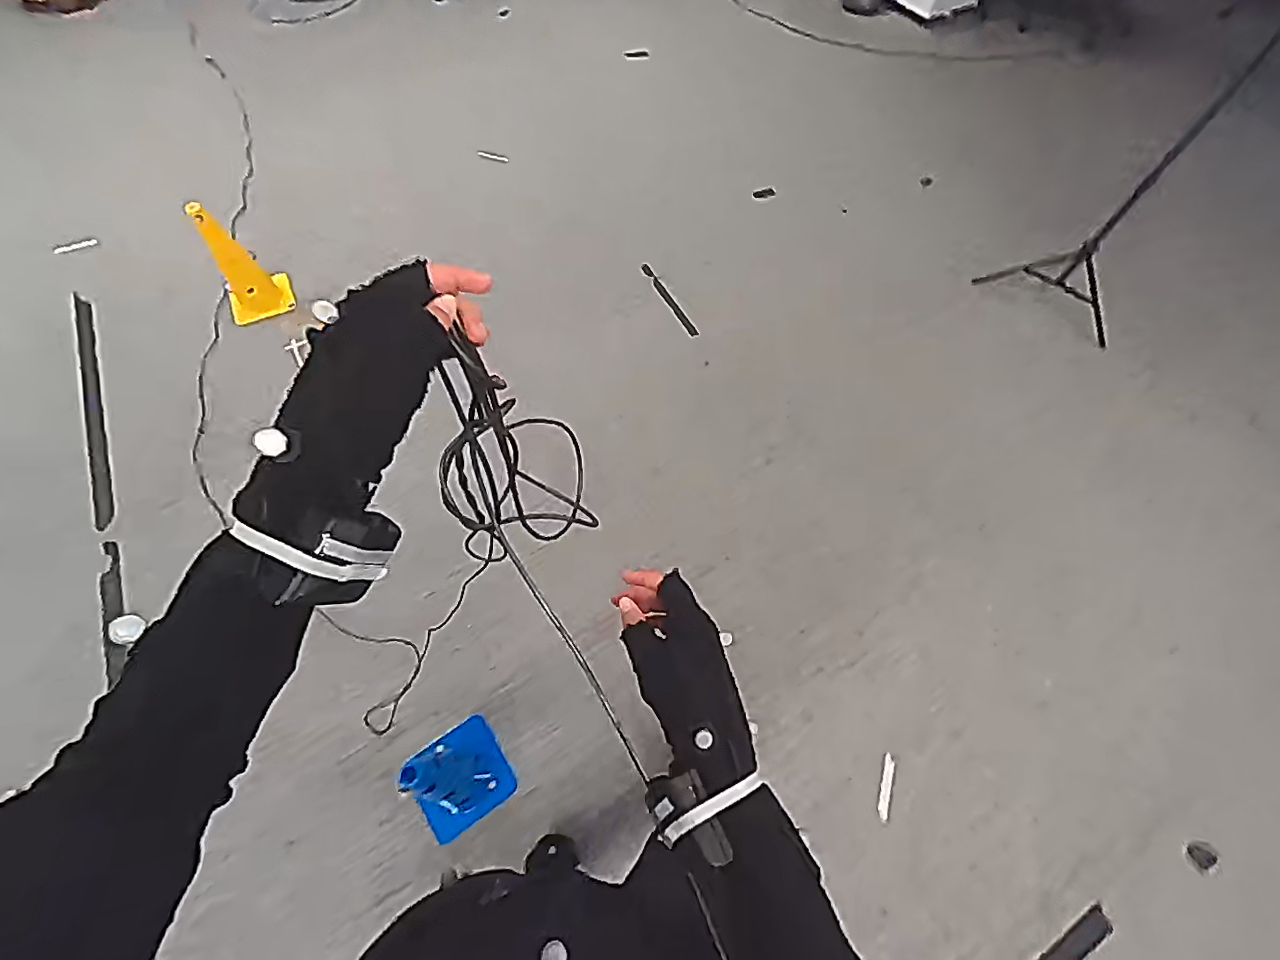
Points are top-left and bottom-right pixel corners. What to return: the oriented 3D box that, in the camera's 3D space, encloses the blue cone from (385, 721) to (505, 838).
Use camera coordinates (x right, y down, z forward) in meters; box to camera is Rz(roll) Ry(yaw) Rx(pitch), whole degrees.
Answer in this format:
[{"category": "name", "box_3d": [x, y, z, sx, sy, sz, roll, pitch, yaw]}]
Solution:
[{"category": "blue cone", "box_3d": [-0.412, 0.592, 1.080, 0.192, 0.380, 0.193, -30, 67, -17]}]
